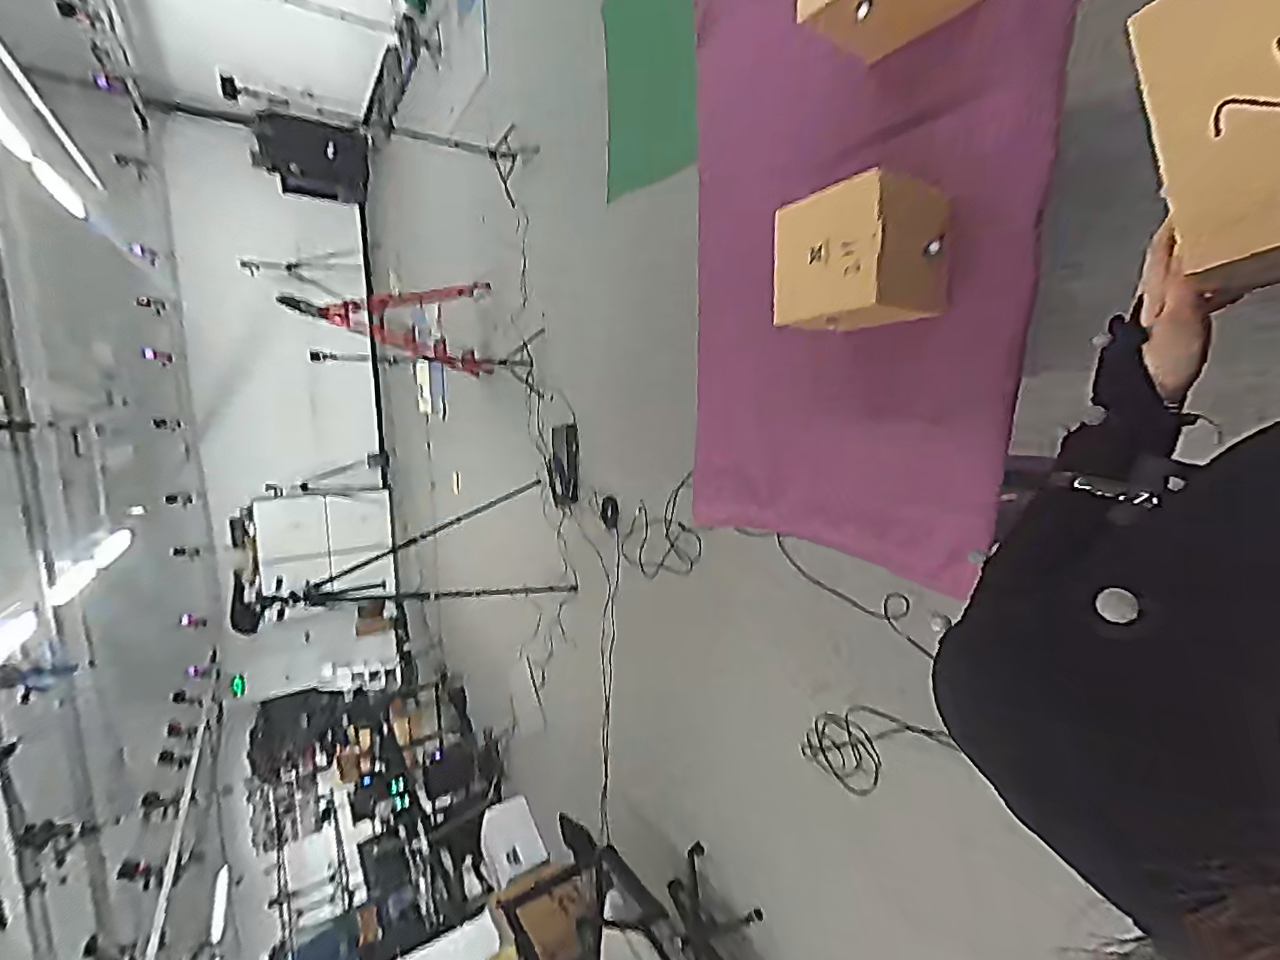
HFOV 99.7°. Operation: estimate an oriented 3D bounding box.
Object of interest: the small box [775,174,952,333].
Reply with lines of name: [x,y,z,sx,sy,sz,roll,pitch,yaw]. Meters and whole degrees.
small box: [0.321,-0.313,0.790,0.179,0.176,0.168,9,103,56]
